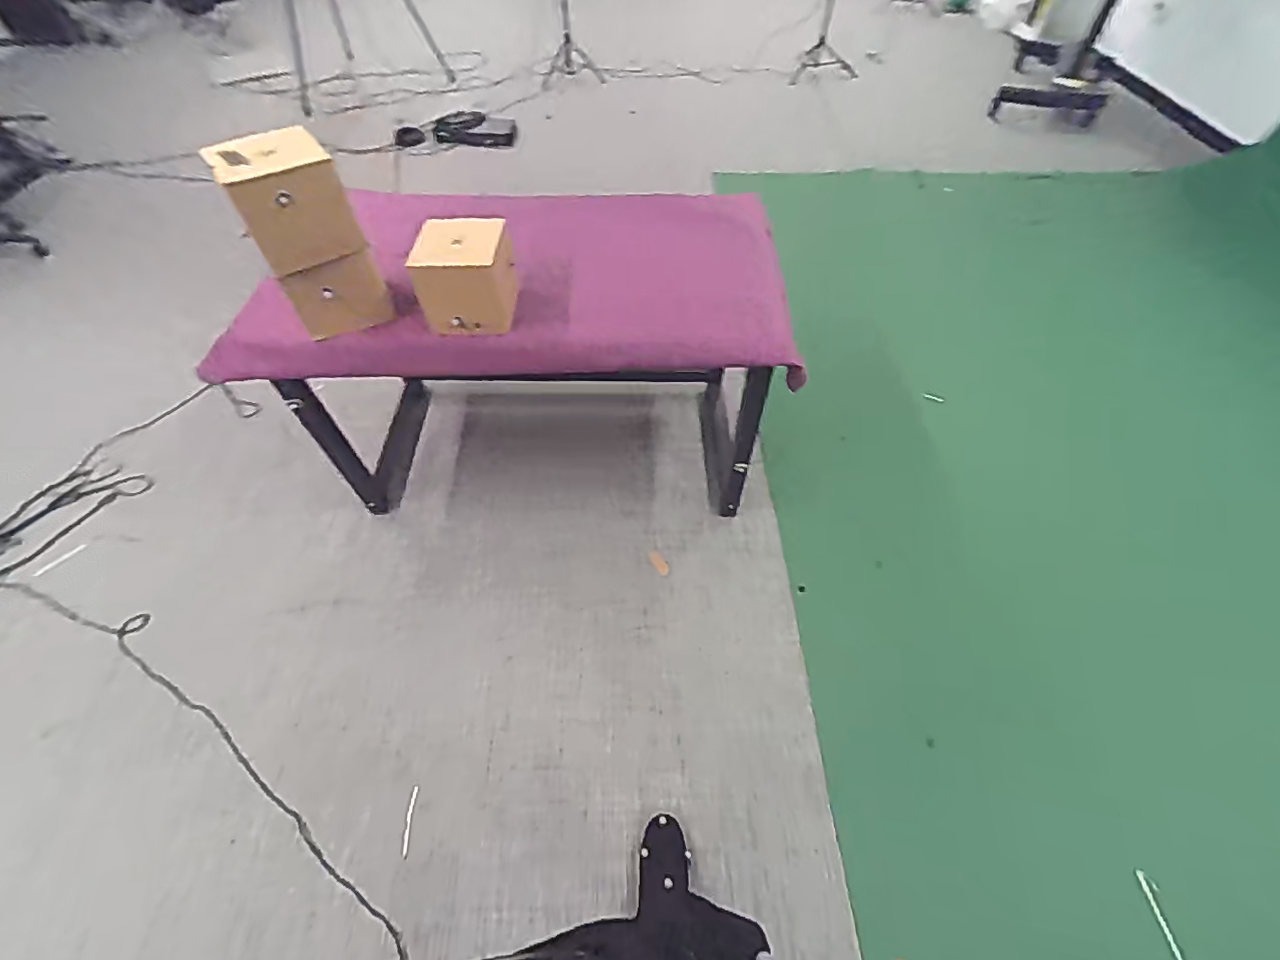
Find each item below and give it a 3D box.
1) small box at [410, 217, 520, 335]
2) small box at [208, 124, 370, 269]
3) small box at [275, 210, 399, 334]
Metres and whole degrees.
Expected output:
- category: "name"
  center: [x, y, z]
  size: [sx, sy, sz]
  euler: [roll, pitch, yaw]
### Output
- category: "small box"
  center: [-0.355, -0.429, 1.139]
  size: [0.168, 0.176, 0.179]
  euler: [1, 54, 1]
- category: "small box"
  center: [-0.637, -0.518, 0.997]
  size: [0.179, 0.176, 0.168]
  euler: [-30, 60, -22]
- category: "small box"
  center: [-0.636, -0.434, 1.139]
  size: [0.179, 0.176, 0.168]
  euler: [-20, 57, -14]
